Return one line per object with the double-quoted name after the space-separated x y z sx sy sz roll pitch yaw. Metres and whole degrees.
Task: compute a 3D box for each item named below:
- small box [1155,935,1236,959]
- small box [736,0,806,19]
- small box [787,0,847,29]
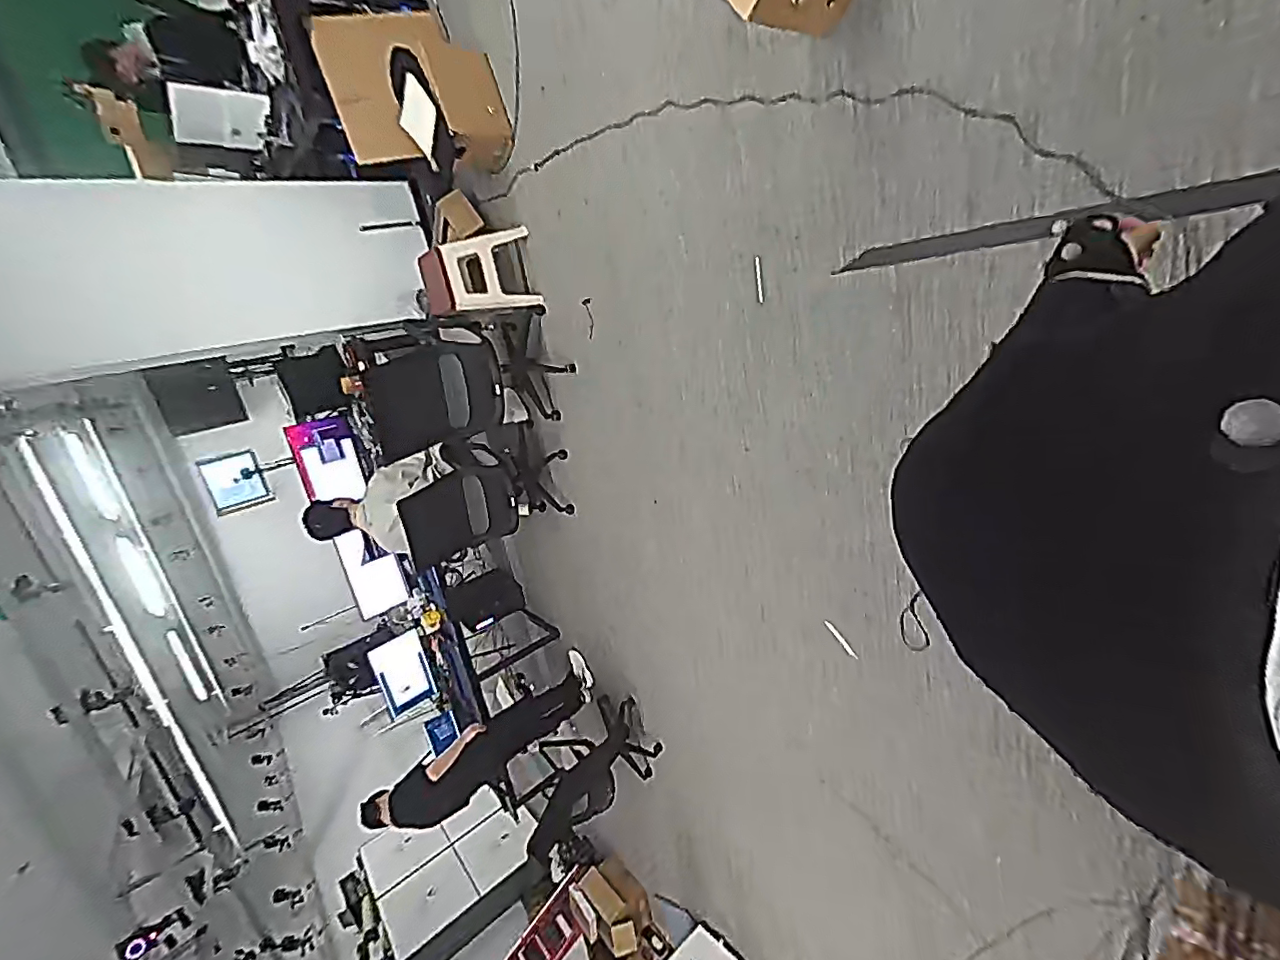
0.983 0.926 0.906 0.179 0.176 0.168 0 105 54 "small box"
0.290 -1.163 1.191 0.179 0.176 0.168 57 146 12 "small box"
0.414 -1.218 1.281 0.179 0.176 0.168 61 144 9 "small box"
